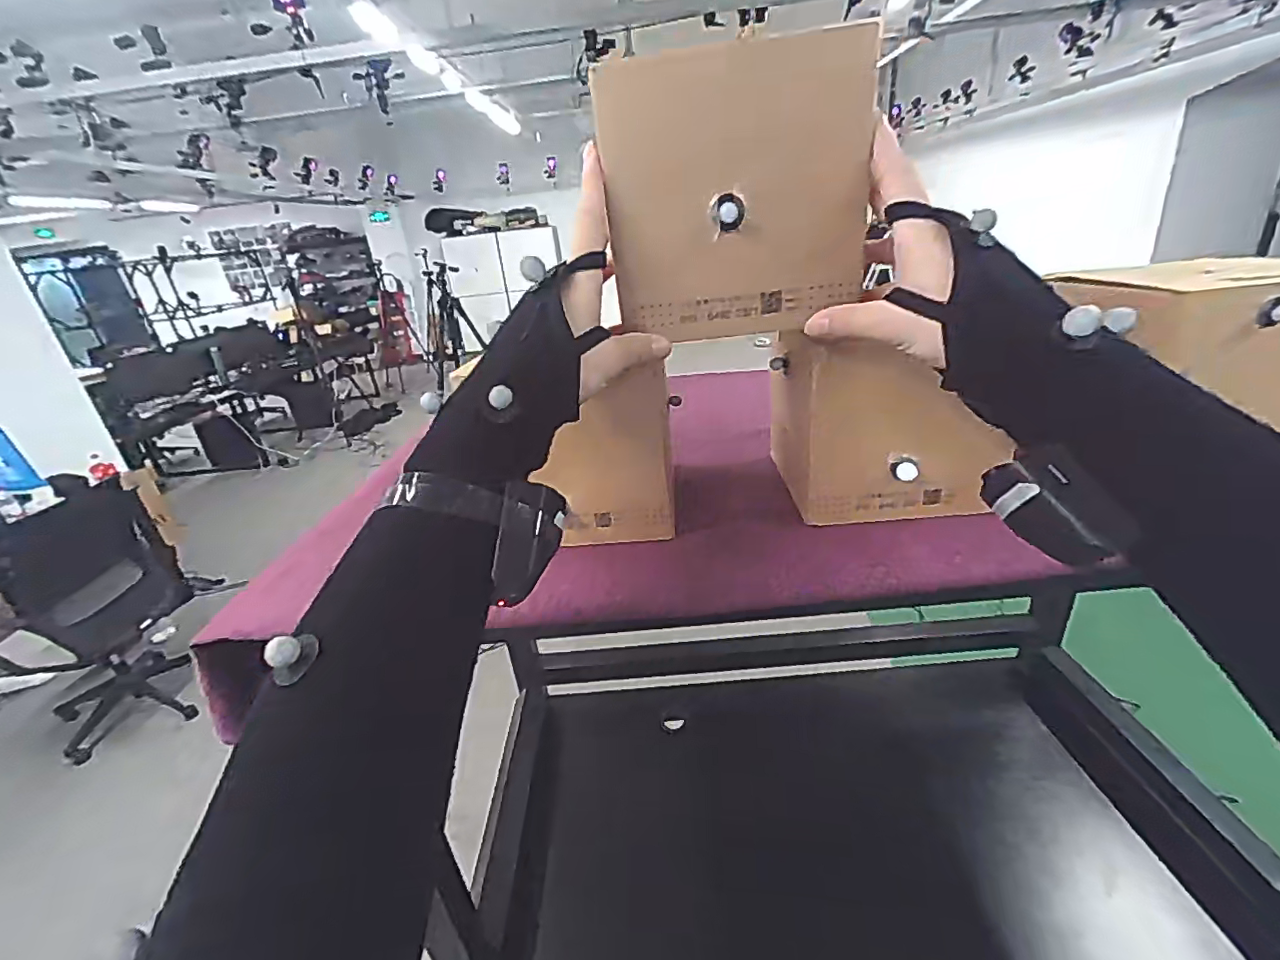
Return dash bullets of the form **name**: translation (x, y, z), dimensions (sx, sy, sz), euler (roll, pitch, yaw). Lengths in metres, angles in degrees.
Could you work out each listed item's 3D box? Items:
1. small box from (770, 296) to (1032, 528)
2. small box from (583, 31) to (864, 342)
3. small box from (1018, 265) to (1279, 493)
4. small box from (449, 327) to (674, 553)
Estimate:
- **small box**: translation (0.218, -0.070, 0.509), dimensions (0.168, 0.176, 0.179), euler (-5, 25, 5)
- **small box**: translation (0.061, -0.209, 0.419), dimensions (0.168, 0.176, 0.179), euler (-4, 28, 6)
- **small box**: translation (0.490, -0.099, 0.501), dimensions (0.168, 0.176, 0.179), euler (-5, 23, 5)
- **small box**: translation (-0.058, -0.047, 0.527), dimensions (0.168, 0.176, 0.179), euler (-5, 25, 6)
